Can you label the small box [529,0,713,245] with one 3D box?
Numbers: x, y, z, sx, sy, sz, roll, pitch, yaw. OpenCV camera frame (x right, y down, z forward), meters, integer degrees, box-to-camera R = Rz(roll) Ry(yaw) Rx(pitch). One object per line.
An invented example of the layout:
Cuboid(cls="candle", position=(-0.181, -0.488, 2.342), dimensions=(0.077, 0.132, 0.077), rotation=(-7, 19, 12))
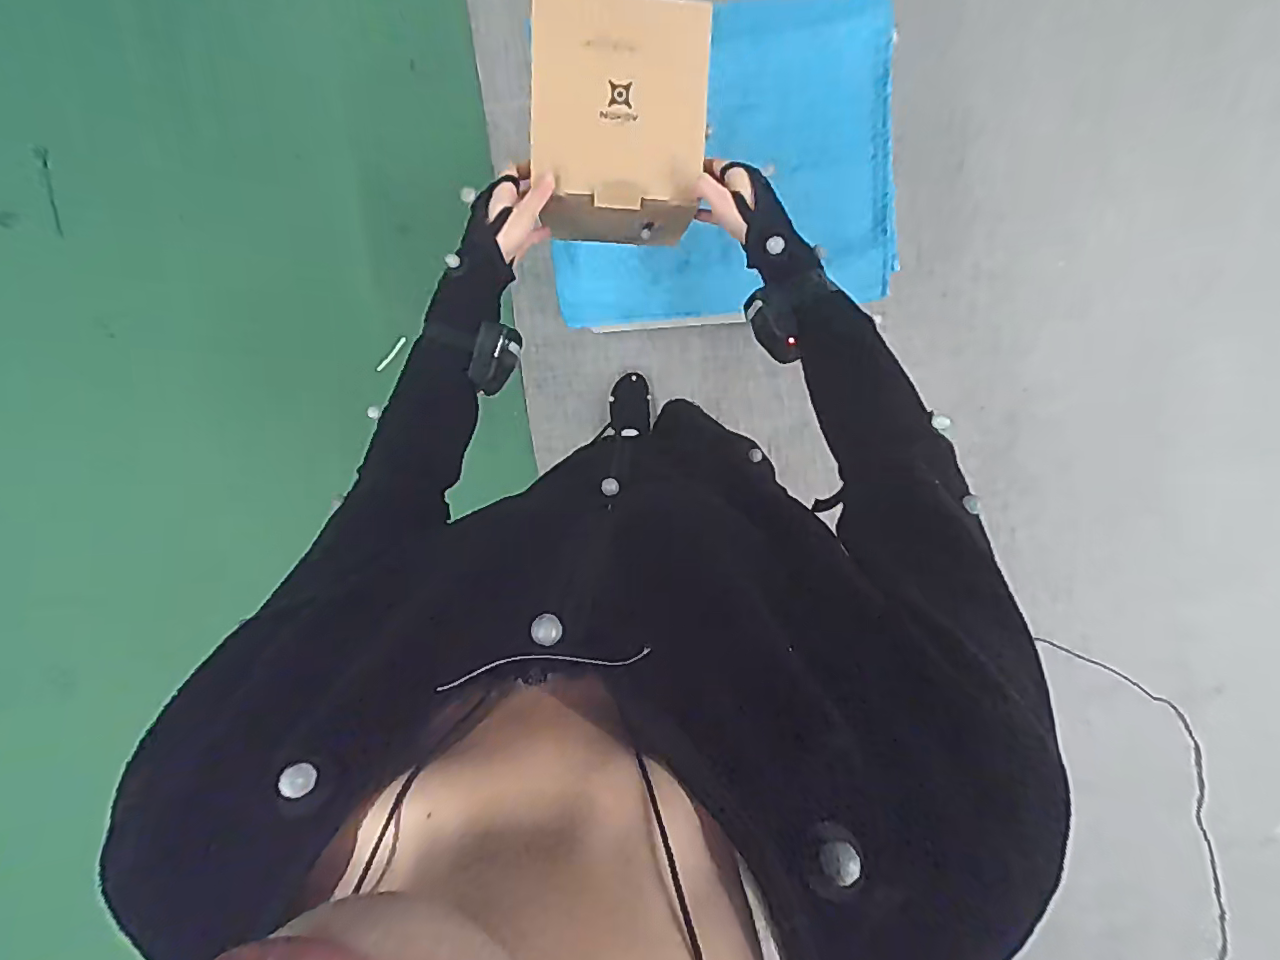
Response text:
Cuboid(cls="small box", position=(-0.024, -0.366, 0.580), dimensions=(0.168, 0.176, 0.179), rotation=(2, 99, -5))
